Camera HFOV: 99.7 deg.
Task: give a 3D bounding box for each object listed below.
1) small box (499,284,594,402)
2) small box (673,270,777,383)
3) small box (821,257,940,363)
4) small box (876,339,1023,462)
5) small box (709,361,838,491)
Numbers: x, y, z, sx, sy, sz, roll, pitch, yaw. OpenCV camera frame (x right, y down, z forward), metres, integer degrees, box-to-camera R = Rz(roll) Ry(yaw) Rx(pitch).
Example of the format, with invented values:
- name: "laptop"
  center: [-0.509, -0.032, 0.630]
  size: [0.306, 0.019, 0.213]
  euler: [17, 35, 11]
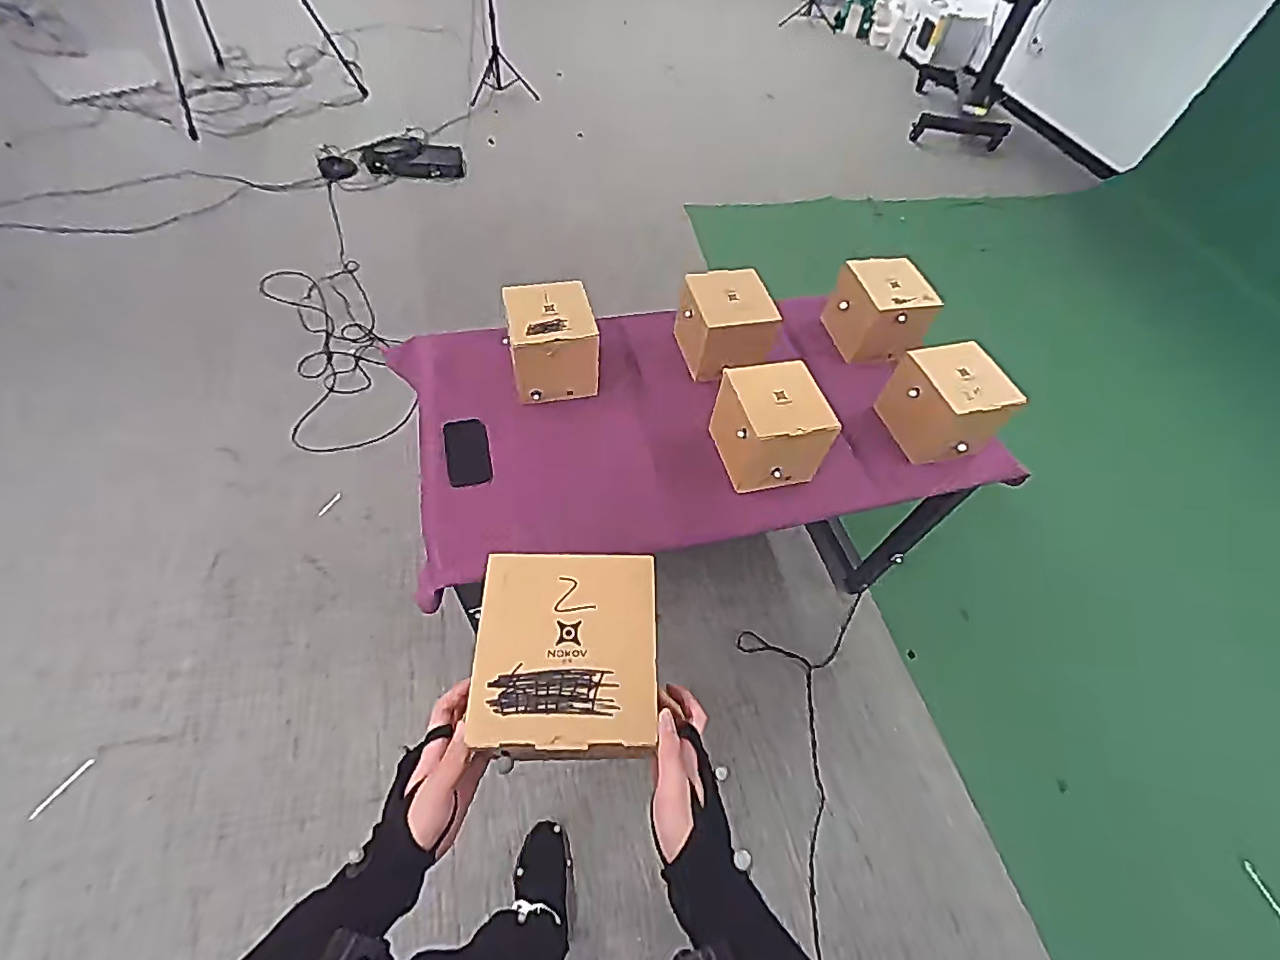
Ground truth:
- name: "small box"
  center: [-0.190, -0.278, 1.126]
  size: [0.168, 0.176, 0.179]
  euler: [-10, 57, -12]
- name: "small box"
  center: [0.179, -0.341, 1.209]
  size: [0.168, 0.176, 0.179]
  euler: [-9, 58, -11]
- name: "small box"
  center: [0.558, -0.403, 1.286]
  size: [0.168, 0.176, 0.179]
  euler: [-9, 57, -11]
- name: "small box"
  center: [0.627, -0.164, 1.124]
  size: [0.168, 0.176, 0.179]
  euler: [-11, 58, -11]
- name: "small box"
  center: [0.246, -0.103, 1.051]
  size: [0.168, 0.176, 0.179]
  euler: [-10, 57, -12]
